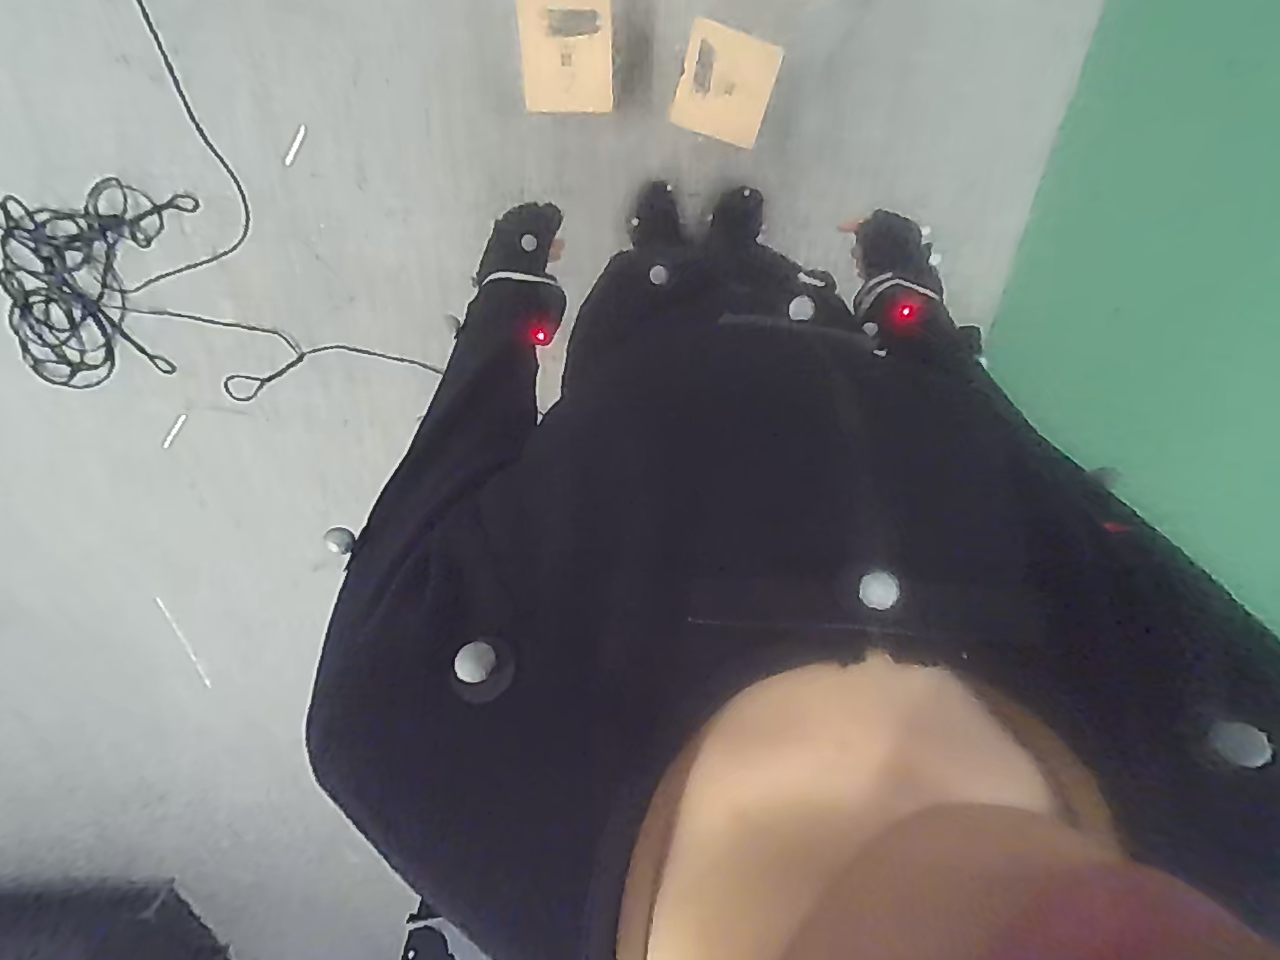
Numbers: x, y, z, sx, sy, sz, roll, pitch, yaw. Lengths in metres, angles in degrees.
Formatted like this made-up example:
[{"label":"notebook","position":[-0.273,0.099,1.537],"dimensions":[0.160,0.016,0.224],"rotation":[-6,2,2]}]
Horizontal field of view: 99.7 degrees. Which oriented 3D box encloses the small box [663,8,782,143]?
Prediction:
[{"label":"small box","position":[0.150,-0.779,1.064],"dimensions":[0.179,0.176,0.168],"rotation":[13,120,-10]}]
